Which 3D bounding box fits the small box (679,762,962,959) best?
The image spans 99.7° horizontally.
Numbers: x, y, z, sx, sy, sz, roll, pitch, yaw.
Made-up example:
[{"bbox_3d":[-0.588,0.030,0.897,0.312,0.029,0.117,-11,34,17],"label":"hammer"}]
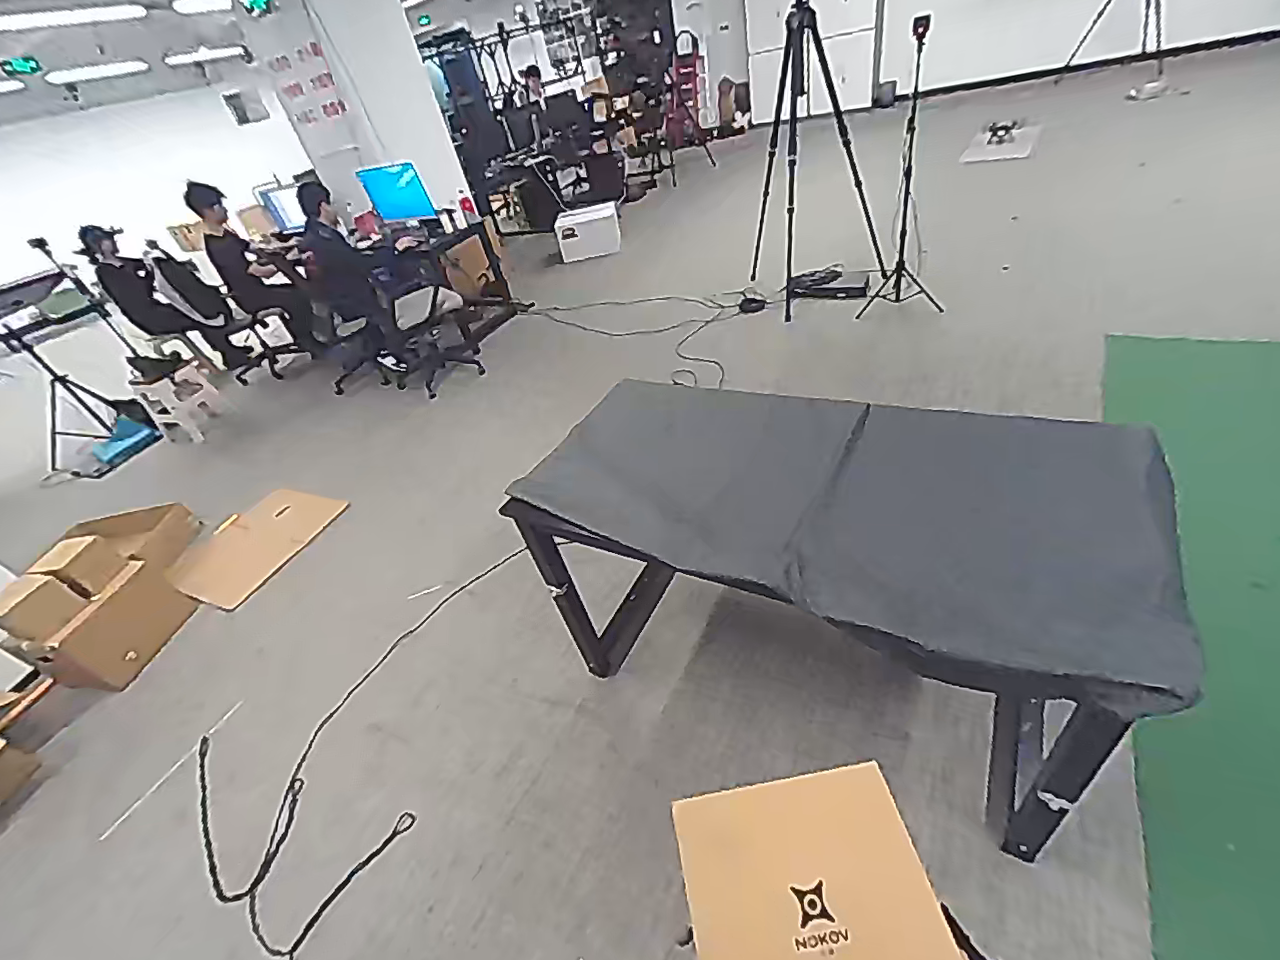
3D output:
[{"bbox_3d":[0.127,0.350,0.416,0.168,0.176,0.179,-10,44,0],"label":"small box"}]
